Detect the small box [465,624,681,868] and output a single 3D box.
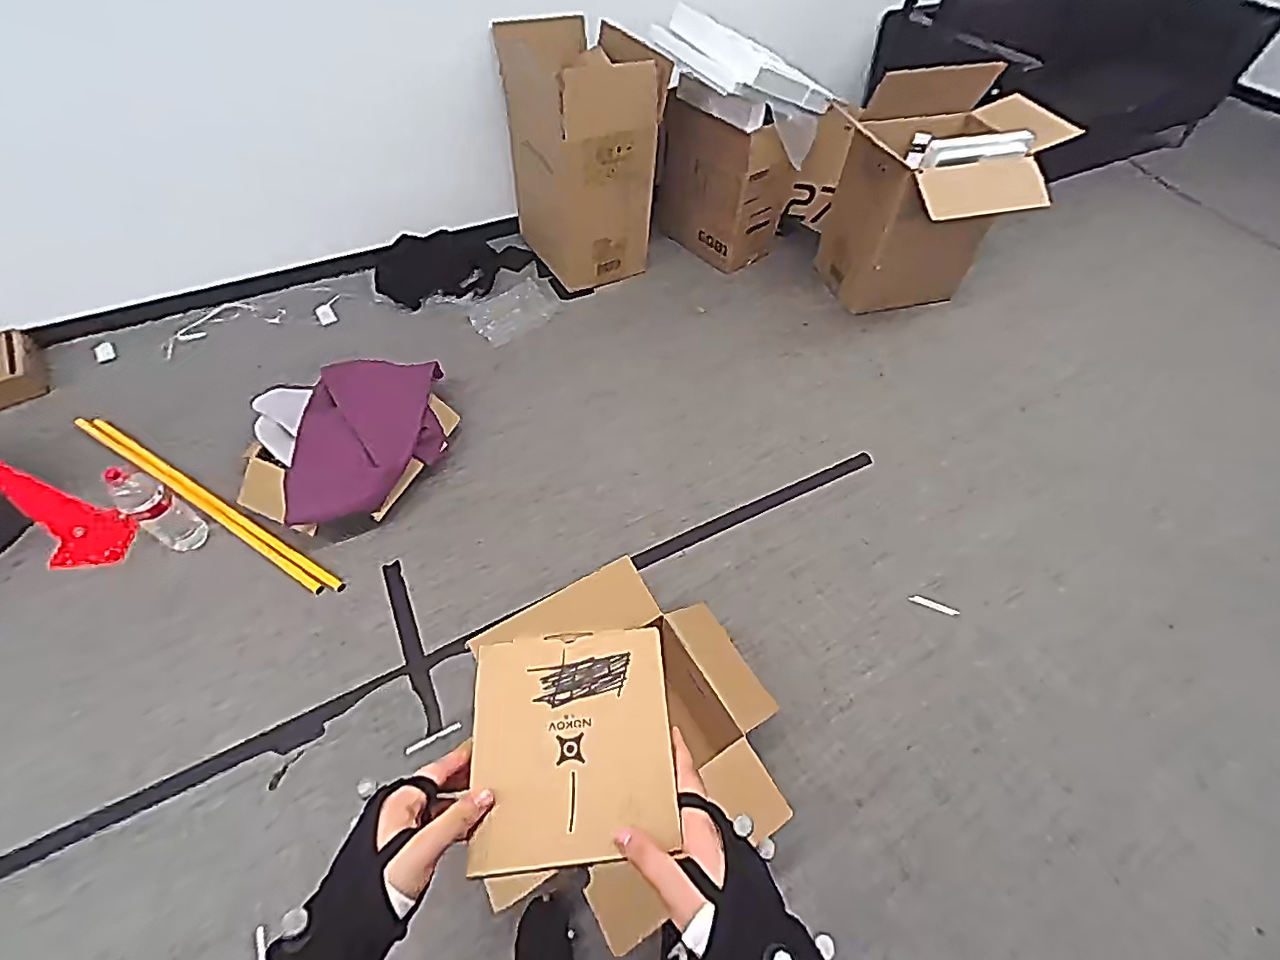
[{"bbox_3d":[-0.057,0.257,0.518,0.168,0.176,0.179,-5,55,-3],"label":"small box"}]
